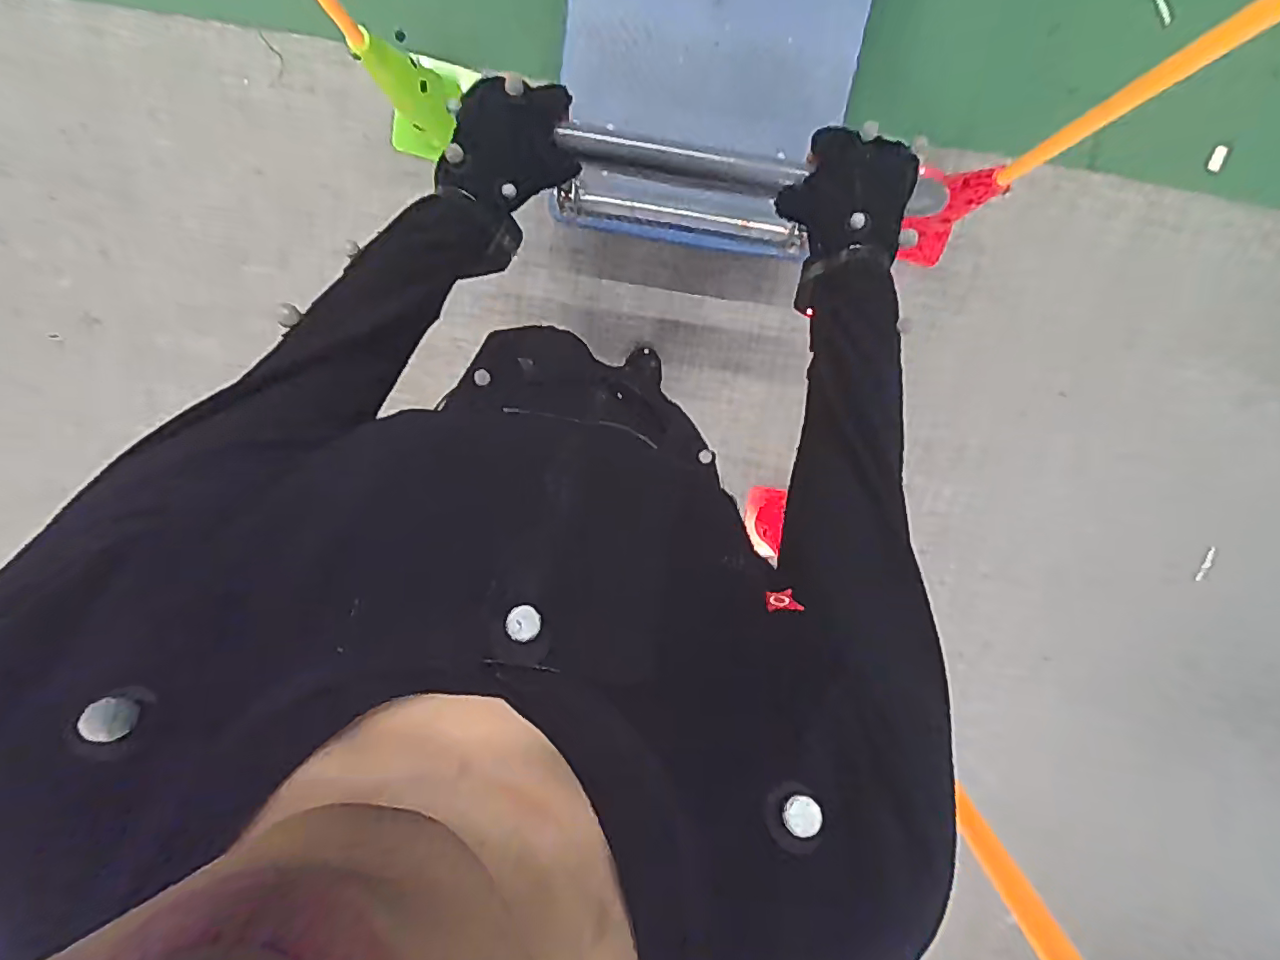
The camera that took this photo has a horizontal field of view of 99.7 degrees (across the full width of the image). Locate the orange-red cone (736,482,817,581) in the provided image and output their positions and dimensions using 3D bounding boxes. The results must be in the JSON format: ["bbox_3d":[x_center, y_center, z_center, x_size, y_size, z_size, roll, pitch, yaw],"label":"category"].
[{"bbox_3d":[0.374,0.159,1.359,0.199,0.360,0.198,10,106,1],"label":"orange-red cone"}]

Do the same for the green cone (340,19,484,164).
[{"bbox_3d":[-0.476,-0.812,1.086,0.202,0.368,0.200,14,106,-2],"label":"green cone"}]
